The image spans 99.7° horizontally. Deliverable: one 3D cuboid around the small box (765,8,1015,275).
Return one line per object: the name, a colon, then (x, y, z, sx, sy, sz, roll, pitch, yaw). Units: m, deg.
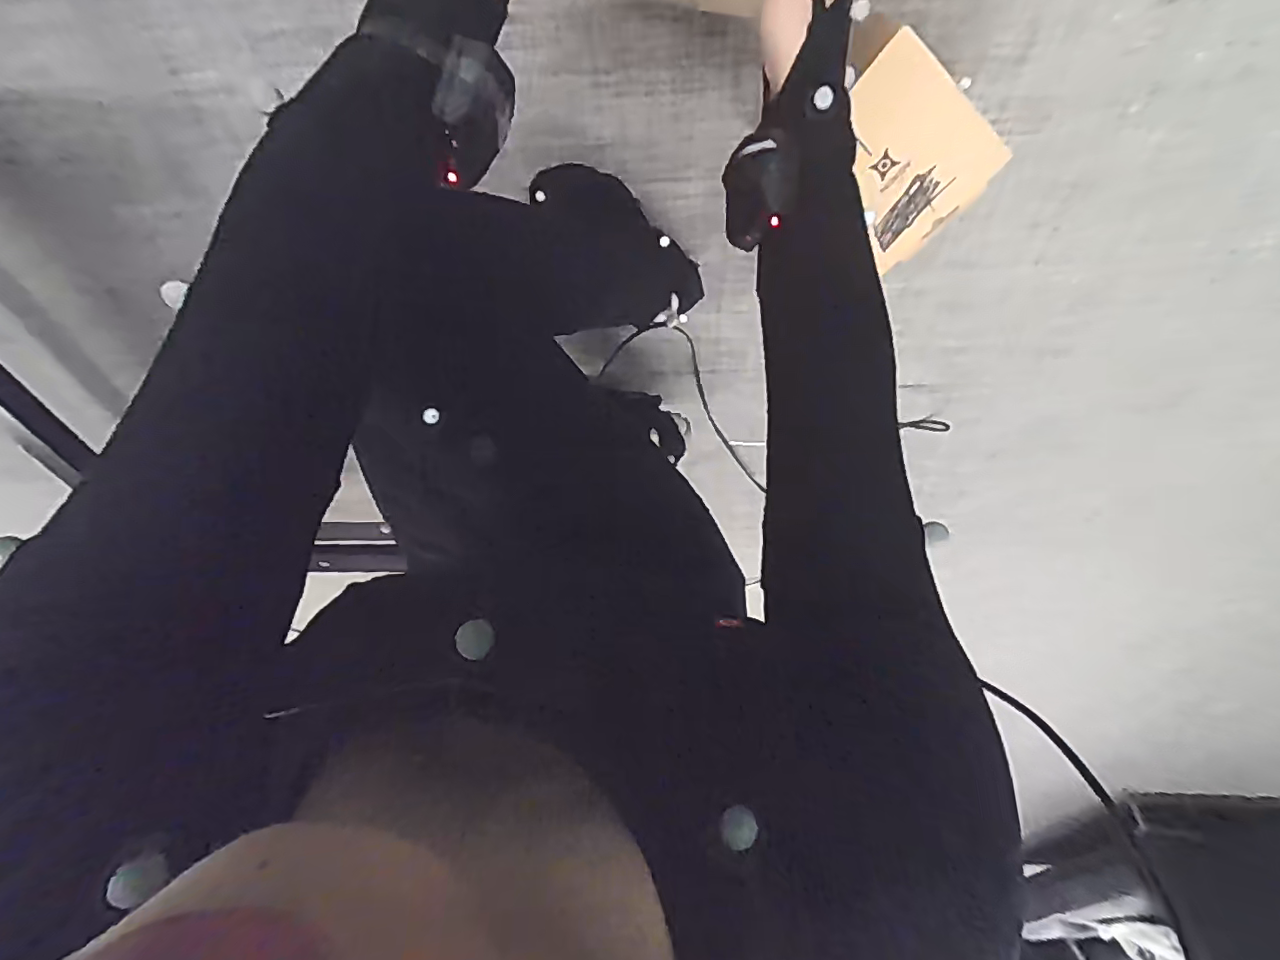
small box: (0.261, -0.375, 0.601, 0.179, 0.176, 0.168, 28, 132, -23)

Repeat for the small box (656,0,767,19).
small box: (0.047, -0.502, 0.421, 0.168, 0.176, 0.179, 9, 121, -3)
